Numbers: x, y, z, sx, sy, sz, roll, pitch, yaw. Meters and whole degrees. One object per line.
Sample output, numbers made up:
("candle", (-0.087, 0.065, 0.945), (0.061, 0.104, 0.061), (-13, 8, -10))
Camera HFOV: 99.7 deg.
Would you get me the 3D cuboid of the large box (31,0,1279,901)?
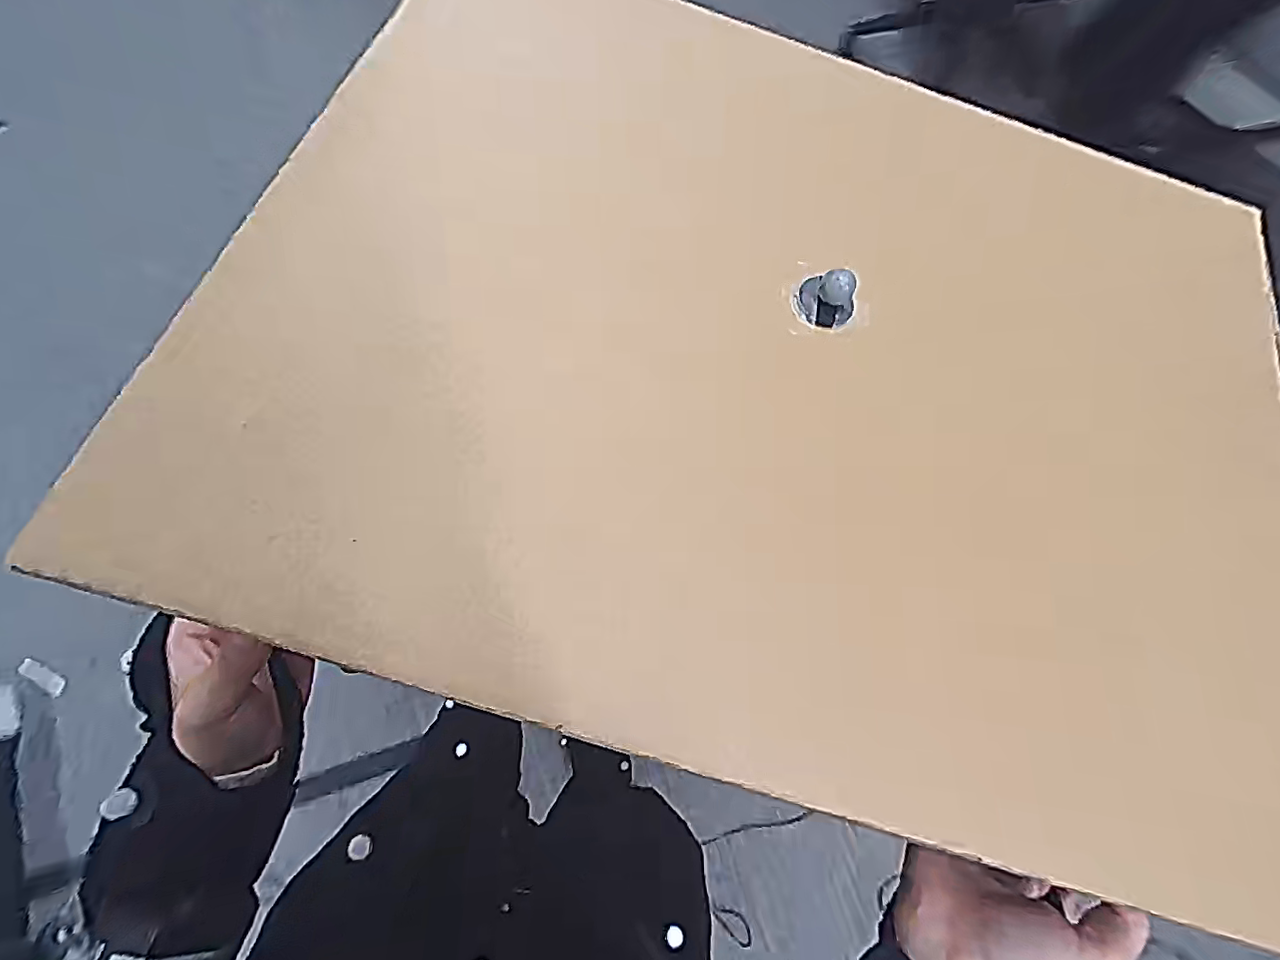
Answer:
("large box", (0.038, -0.017, 0.341), (0.408, 0.320, 0.320), (16, 71, -2))
